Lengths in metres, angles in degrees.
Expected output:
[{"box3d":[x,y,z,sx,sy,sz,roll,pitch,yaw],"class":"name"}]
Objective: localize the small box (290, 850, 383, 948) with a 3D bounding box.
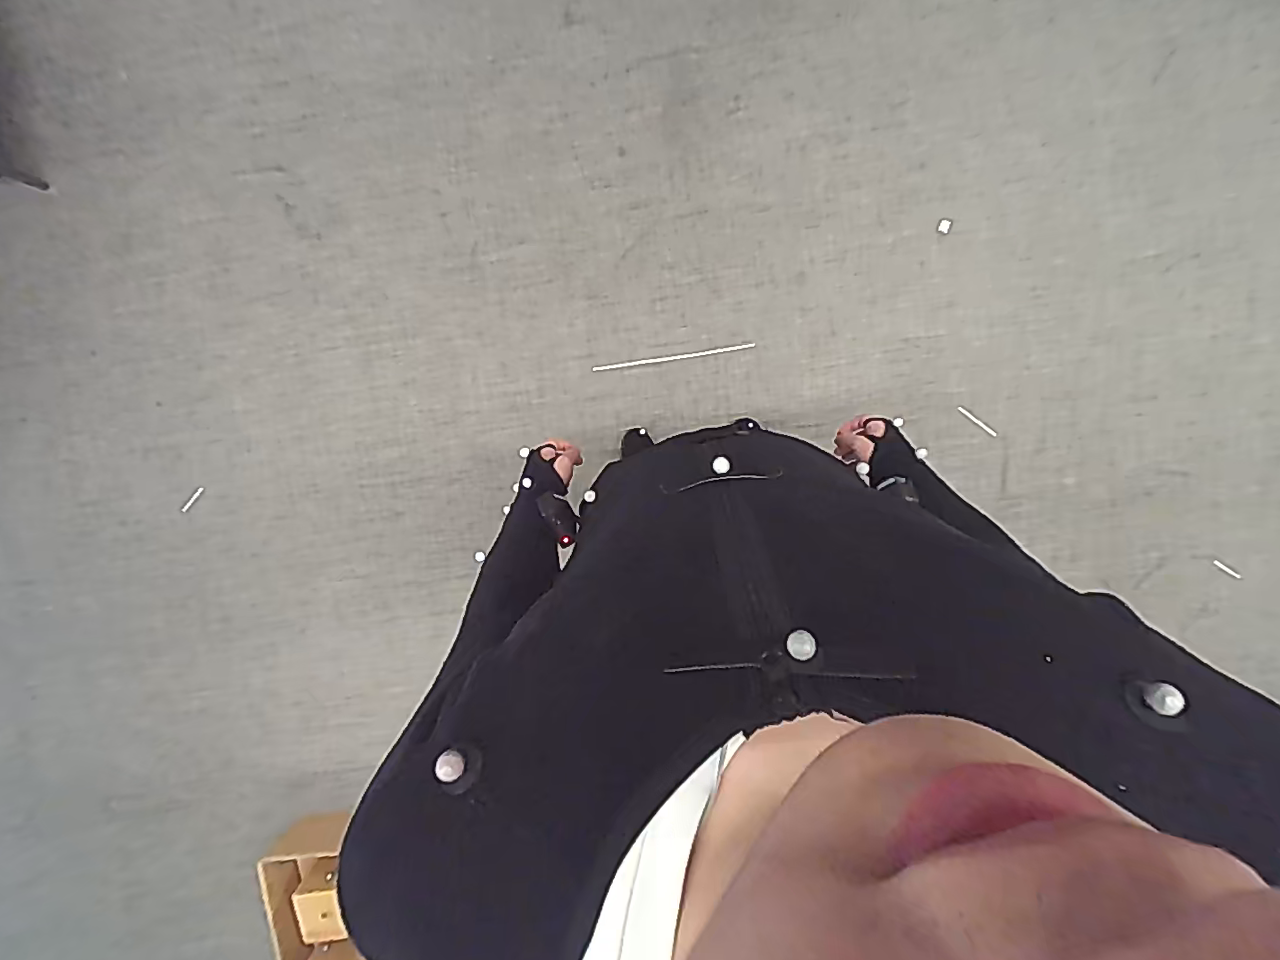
[{"box3d":[-0.933,1.292,1.675,0.179,0.176,0.168,-9,96,1],"class":"small box"}]
